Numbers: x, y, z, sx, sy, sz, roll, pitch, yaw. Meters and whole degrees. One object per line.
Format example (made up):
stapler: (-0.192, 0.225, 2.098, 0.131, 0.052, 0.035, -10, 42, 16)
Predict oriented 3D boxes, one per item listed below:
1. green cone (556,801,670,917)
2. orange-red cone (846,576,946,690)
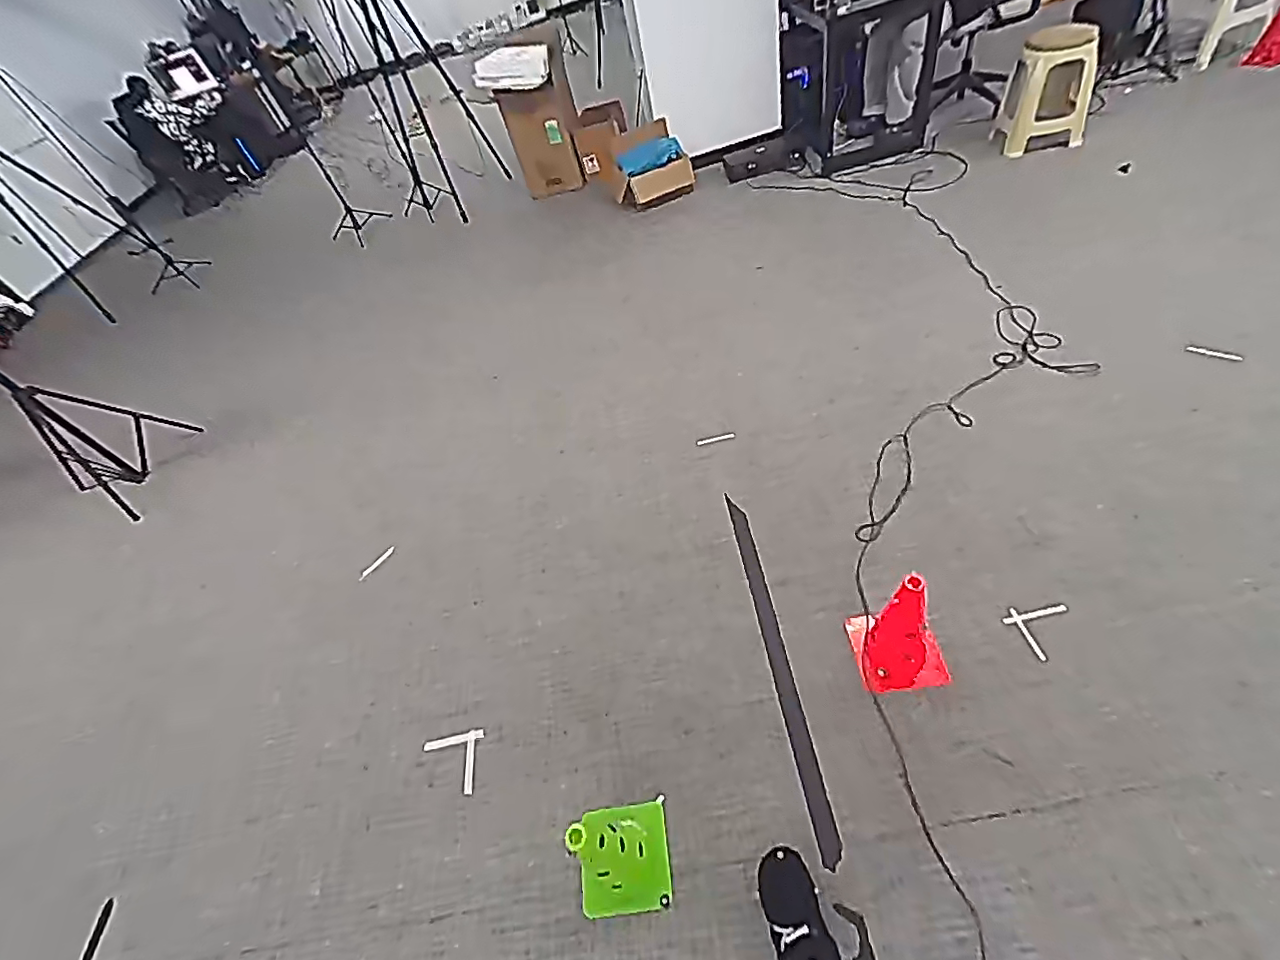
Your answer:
green cone: (-0.081, 0.735, 1.088, 0.202, 0.368, 0.200, -14, 47, 7)
orange-red cone: (0.603, 0.321, 1.239, 0.199, 0.360, 0.198, -9, 49, 8)
